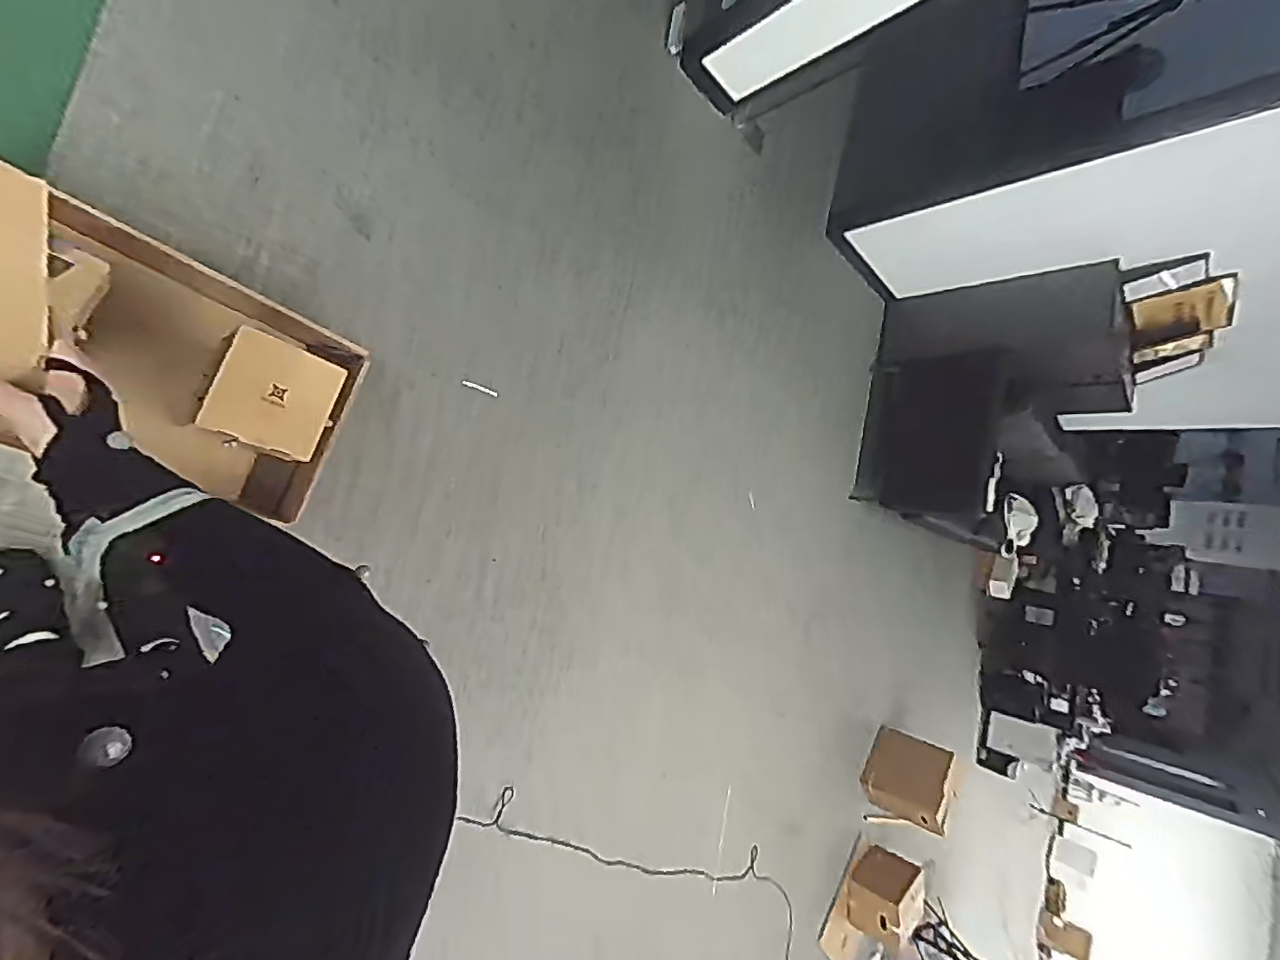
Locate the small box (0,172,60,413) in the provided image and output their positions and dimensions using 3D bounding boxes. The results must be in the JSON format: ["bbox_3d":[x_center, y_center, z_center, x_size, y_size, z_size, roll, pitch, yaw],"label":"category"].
[{"bbox_3d":[-0.570,-0.158,0.405,0.168,0.176,0.179,-4,110,-54],"label":"small box"}]

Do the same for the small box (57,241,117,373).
[{"bbox_3d":[-0.863,-0.251,0.733,0.168,0.176,0.179,33,72,-42],"label":"small box"}]

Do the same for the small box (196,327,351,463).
[{"bbox_3d":[-0.647,-0.143,0.949,0.168,0.176,0.179,26,77,-42],"label":"small box"}]
